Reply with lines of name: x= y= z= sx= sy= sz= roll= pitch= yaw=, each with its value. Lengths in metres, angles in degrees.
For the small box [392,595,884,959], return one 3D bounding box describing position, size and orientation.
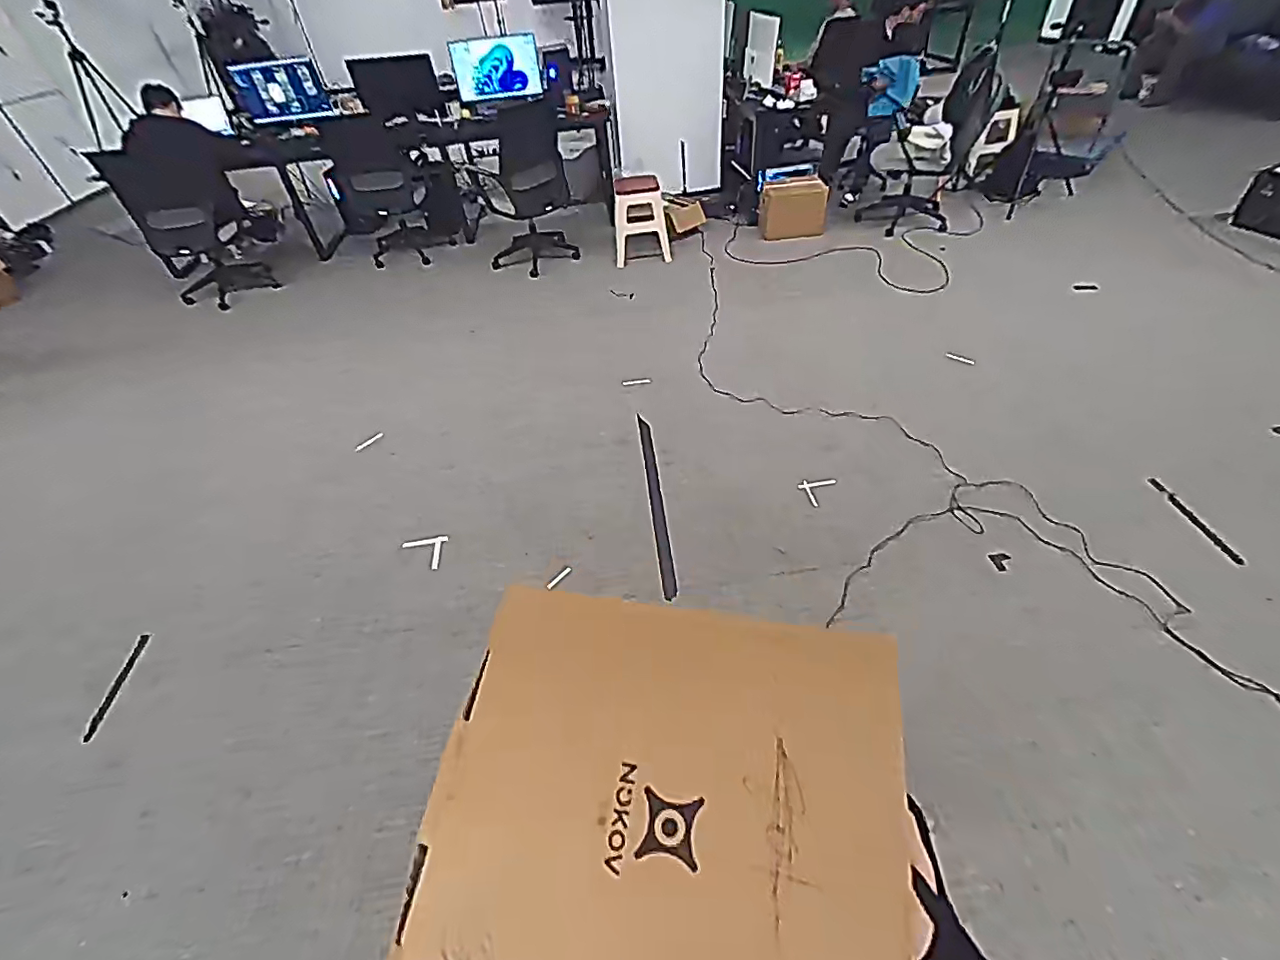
small box: x=0.012 y=0.174 z=0.282 sx=0.179 sy=0.176 sz=0.168 roll=6 pitch=61 yaw=9
